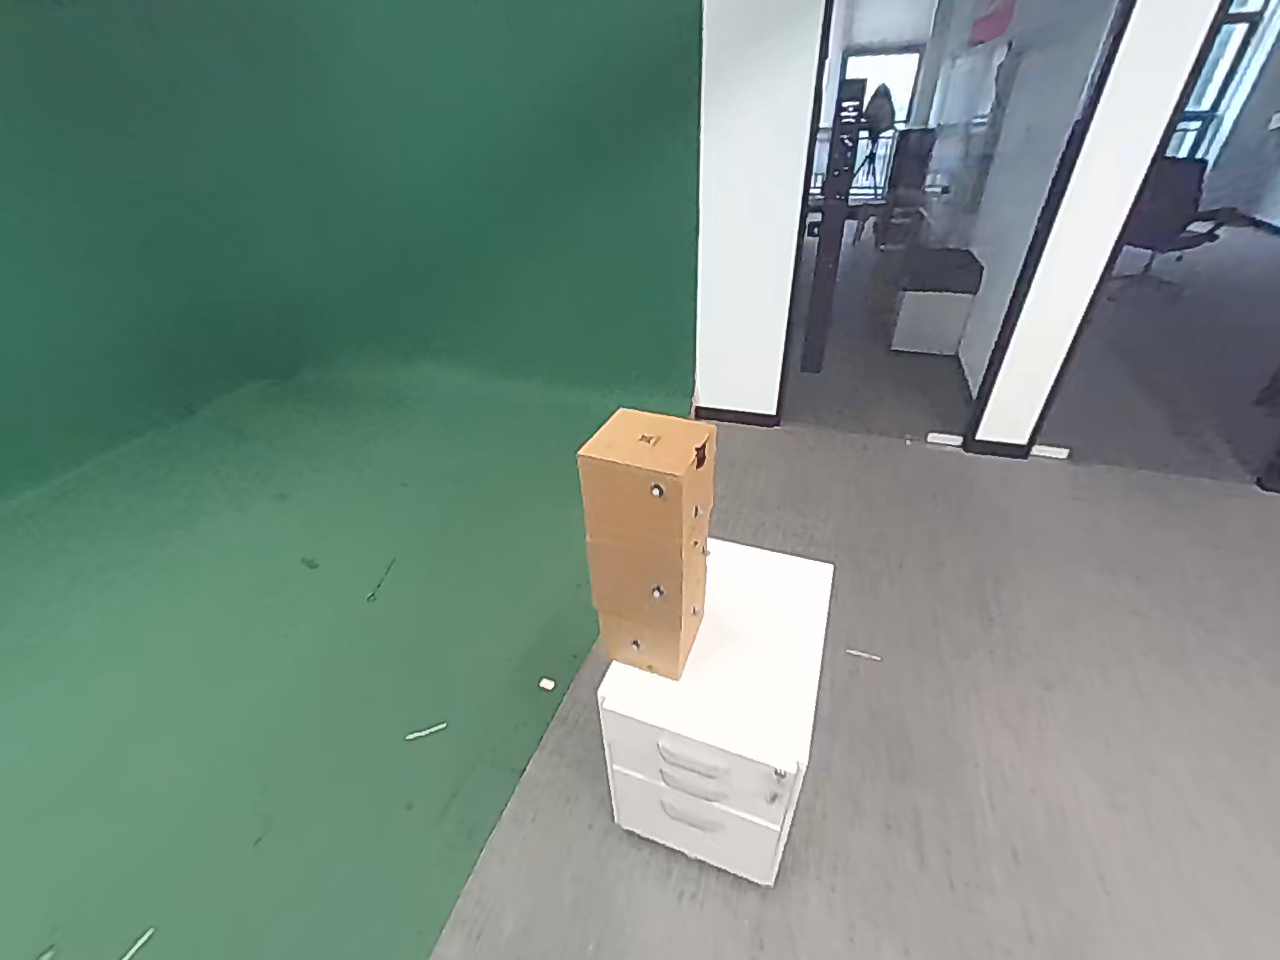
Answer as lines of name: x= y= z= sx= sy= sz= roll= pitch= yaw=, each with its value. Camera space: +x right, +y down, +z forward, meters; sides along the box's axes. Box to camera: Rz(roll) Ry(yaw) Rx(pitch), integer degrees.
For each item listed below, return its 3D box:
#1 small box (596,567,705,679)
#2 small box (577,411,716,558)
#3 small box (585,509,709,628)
small box: x=0.026 y=0.266 z=1.090 sx=0.168 sy=0.176 sz=0.179 roll=13 pitch=38 yaw=17
small box: x=0.014 y=0.006 z=0.895 sx=0.179 sy=0.176 sz=0.168 roll=13 pitch=37 yaw=19
small box: x=0.018 y=0.142 z=0.984 sx=0.179 sy=0.176 sz=0.168 roll=11 pitch=36 yaw=18
